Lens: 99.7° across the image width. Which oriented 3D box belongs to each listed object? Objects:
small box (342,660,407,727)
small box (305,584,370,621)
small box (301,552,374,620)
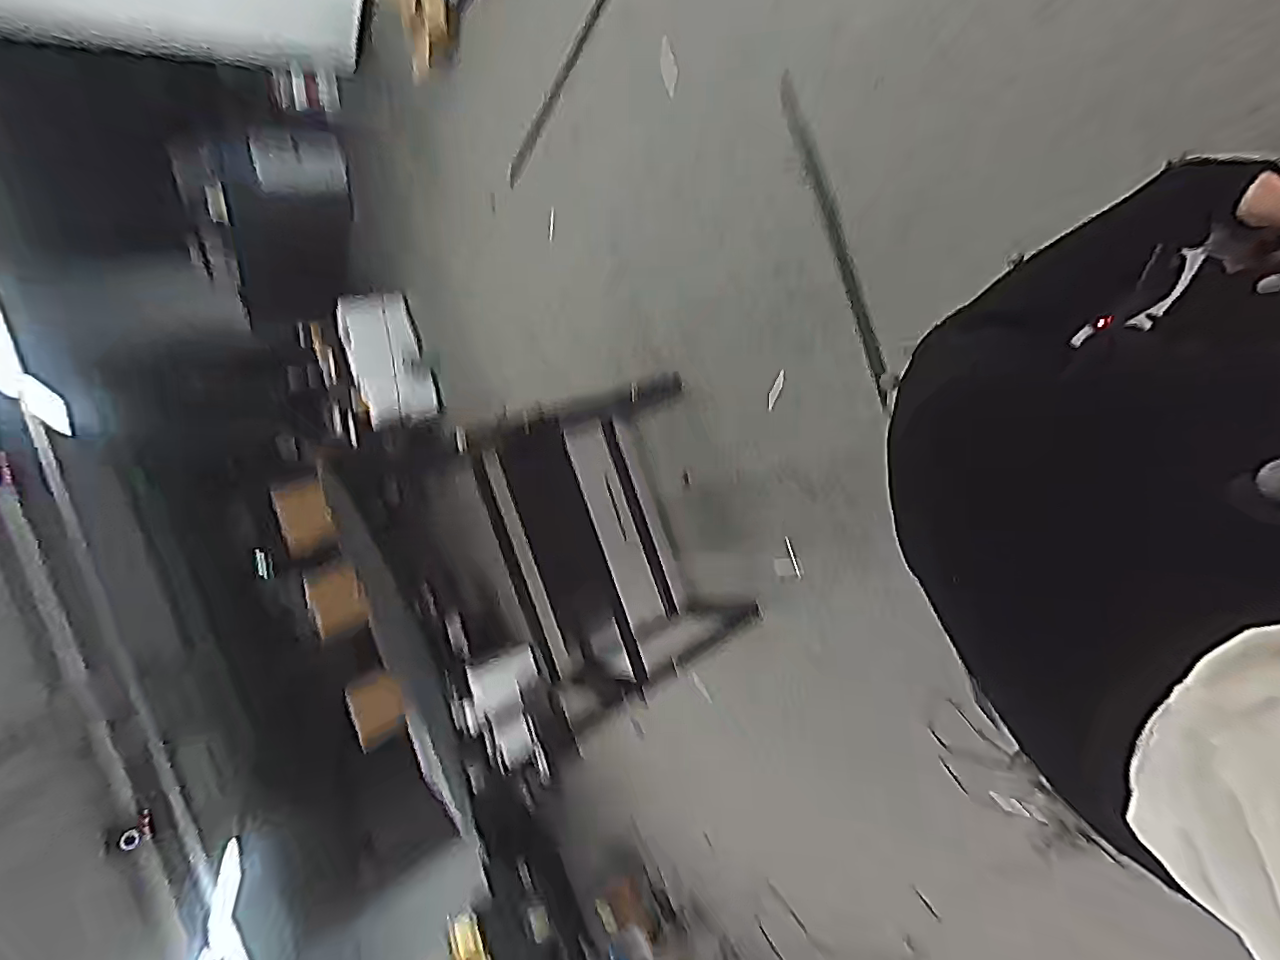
[{"bbox_3d":[-0.985,0.785,2.008,0.179,0.176,0.168,-22,89,57],"label":"small box"},{"bbox_3d":[-1.125,0.402,2.000,0.168,0.176,0.179,-16,93,57],"label":"small box"},{"bbox_3d":[-1.005,0.345,1.799,0.179,0.176,0.168,-12,98,57],"label":"small box"}]
